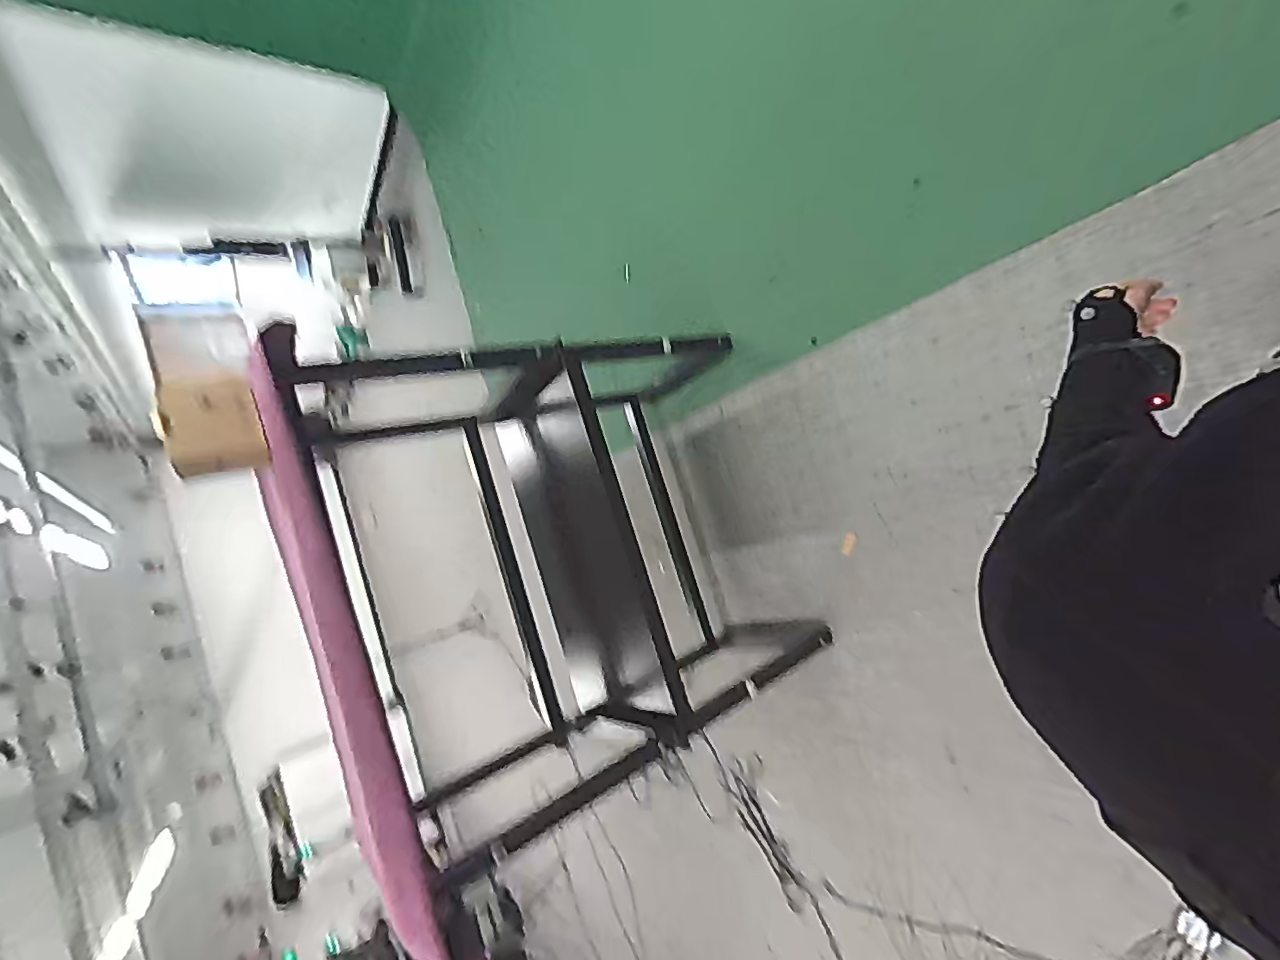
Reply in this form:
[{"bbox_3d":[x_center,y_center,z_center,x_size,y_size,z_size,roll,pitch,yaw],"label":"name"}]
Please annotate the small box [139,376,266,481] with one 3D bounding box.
[{"bbox_3d":[-0.929,-0.112,1.165,0.179,0.176,0.168,-26,82,56],"label":"small box"}]
